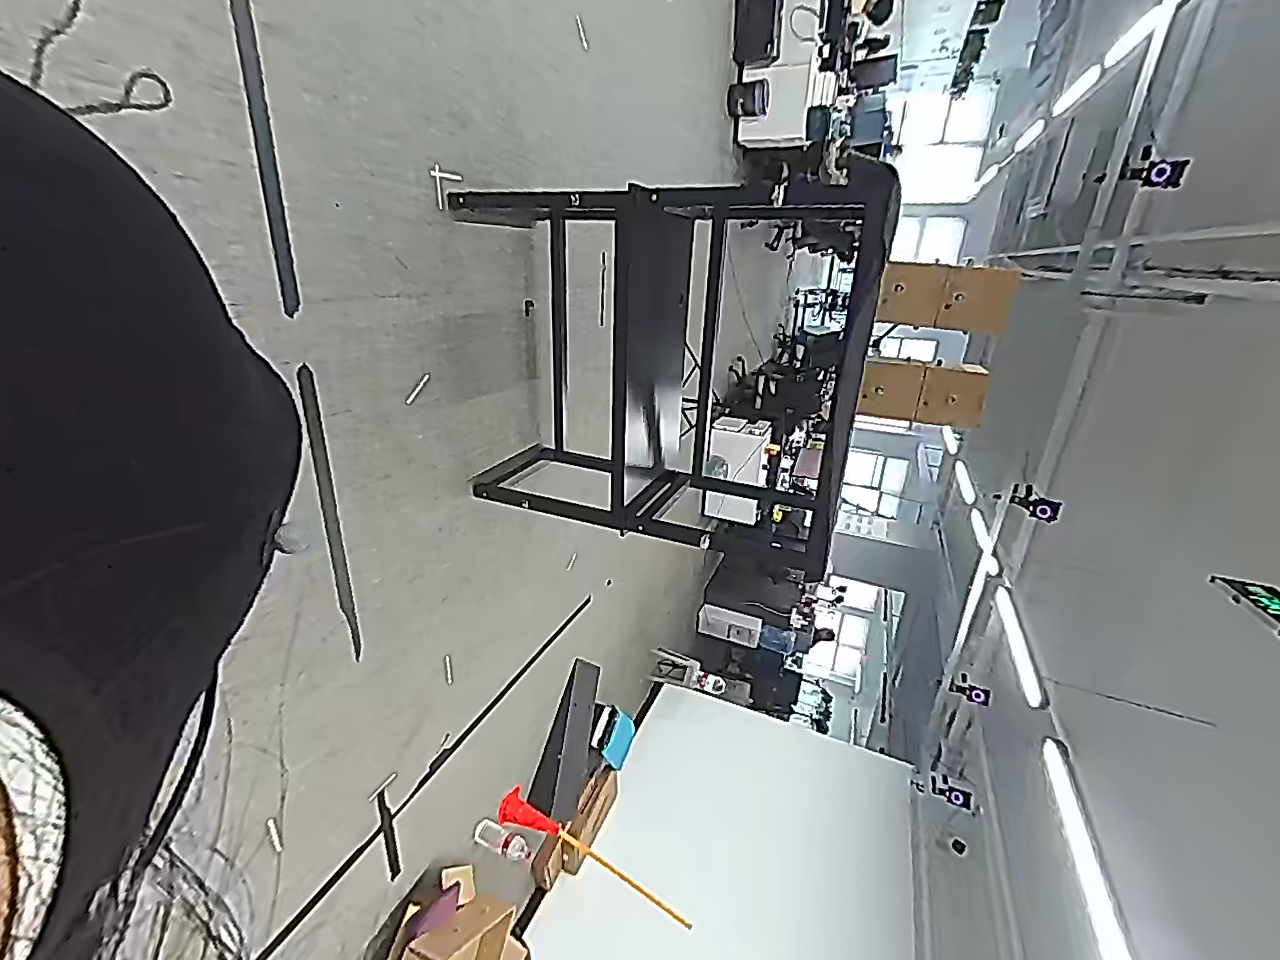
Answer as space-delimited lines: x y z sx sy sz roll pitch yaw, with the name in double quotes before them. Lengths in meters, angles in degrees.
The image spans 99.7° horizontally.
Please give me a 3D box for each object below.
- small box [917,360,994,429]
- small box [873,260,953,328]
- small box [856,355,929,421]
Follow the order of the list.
"small box" 0.921 -0.257 1.606 0.179 0.176 0.168 -40 138 -61
"small box" 0.775 -0.539 1.555 0.179 0.176 0.168 -43 140 -59
"small box" 0.768 -0.287 1.658 0.179 0.176 0.168 -41 137 -61
